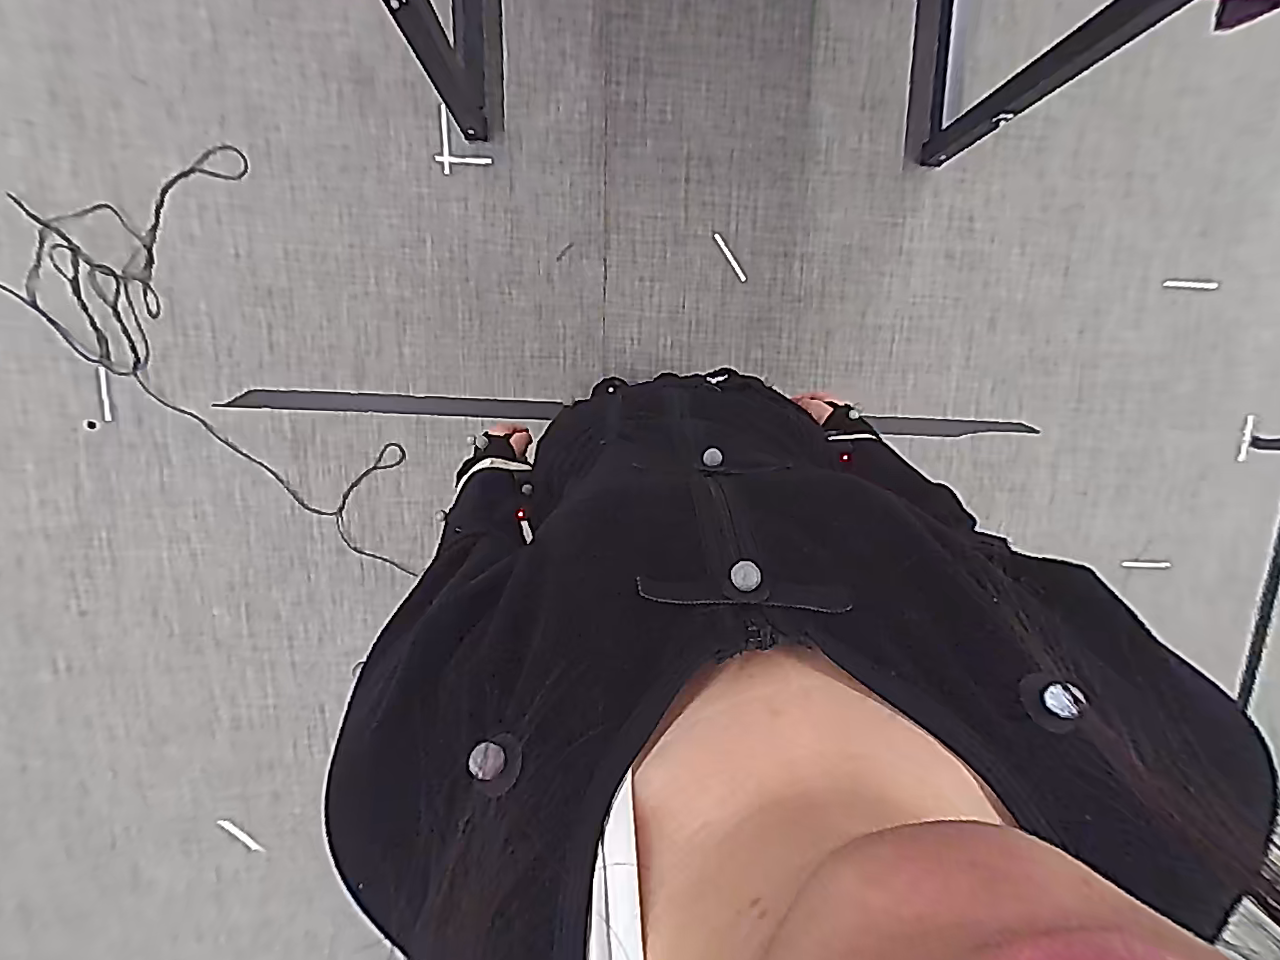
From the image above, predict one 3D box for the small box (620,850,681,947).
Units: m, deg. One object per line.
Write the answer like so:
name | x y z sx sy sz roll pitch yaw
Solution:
small box | 0.028 1.267 1.645 0.168 0.176 0.179 3 101 -3
